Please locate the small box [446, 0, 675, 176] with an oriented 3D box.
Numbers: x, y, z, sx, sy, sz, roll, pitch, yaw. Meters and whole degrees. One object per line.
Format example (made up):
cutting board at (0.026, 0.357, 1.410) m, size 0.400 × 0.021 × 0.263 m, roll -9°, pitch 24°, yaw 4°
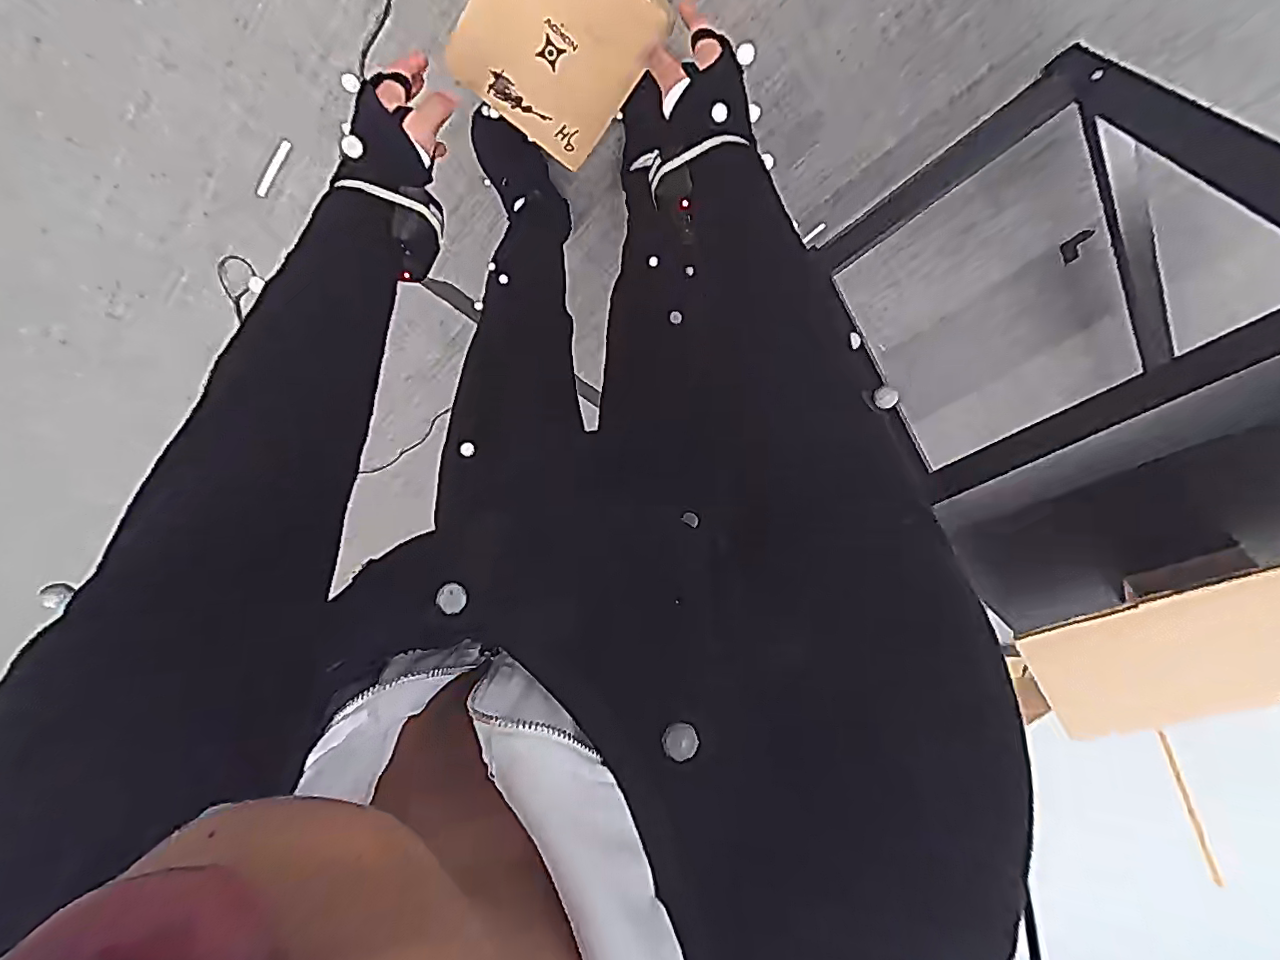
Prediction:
small box at (-0.087, -0.487, 0.586) m, size 0.168 × 0.176 × 0.179 m, roll 26°, pitch 130°, yaw -31°
